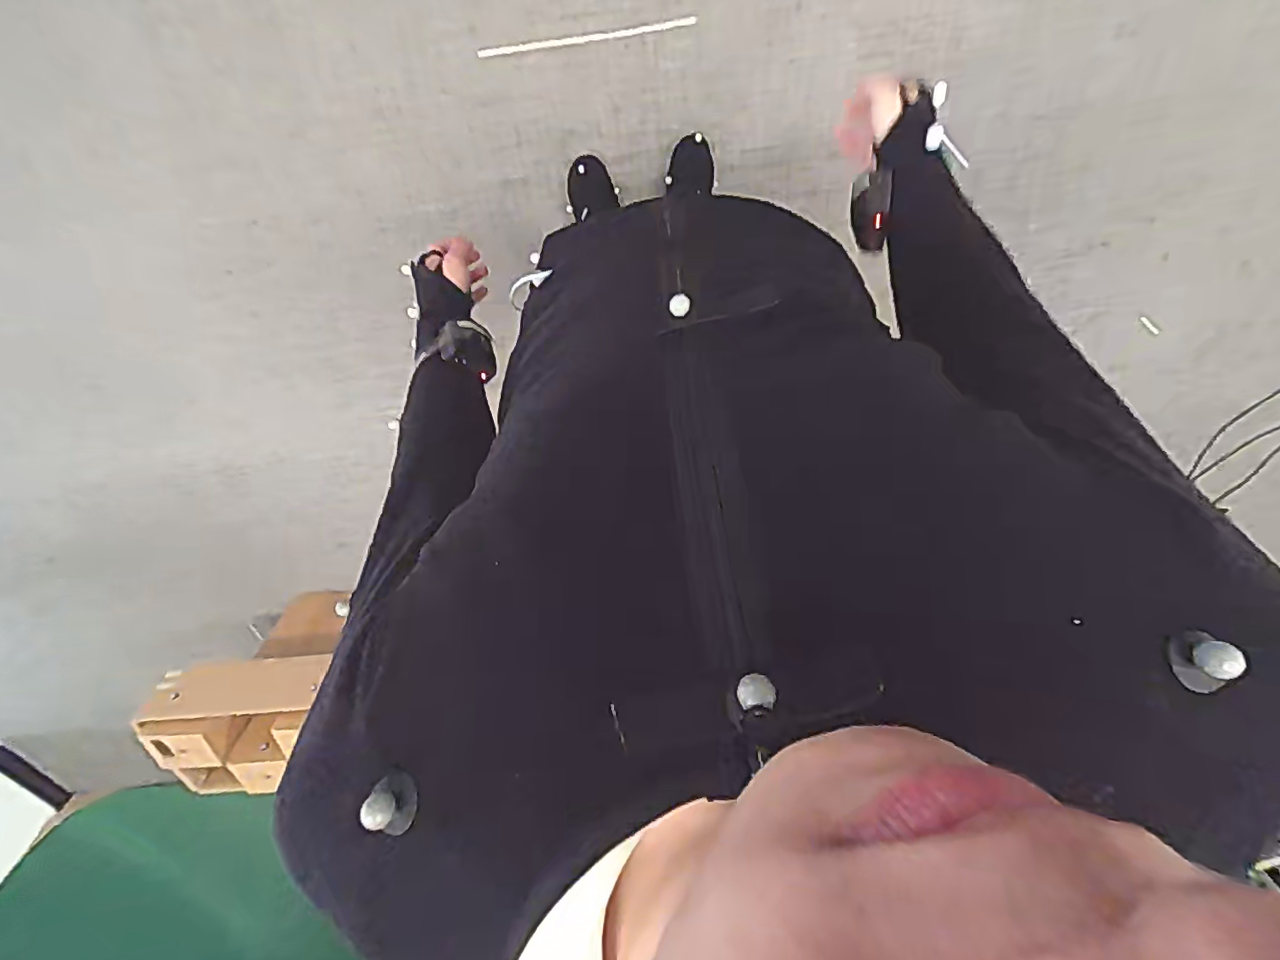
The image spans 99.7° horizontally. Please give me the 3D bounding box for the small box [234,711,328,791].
[{"bbox_3d":[-1.127,0.858,1.721,0.179,0.176,0.168,-4,122,-1],"label":"small box"}]
